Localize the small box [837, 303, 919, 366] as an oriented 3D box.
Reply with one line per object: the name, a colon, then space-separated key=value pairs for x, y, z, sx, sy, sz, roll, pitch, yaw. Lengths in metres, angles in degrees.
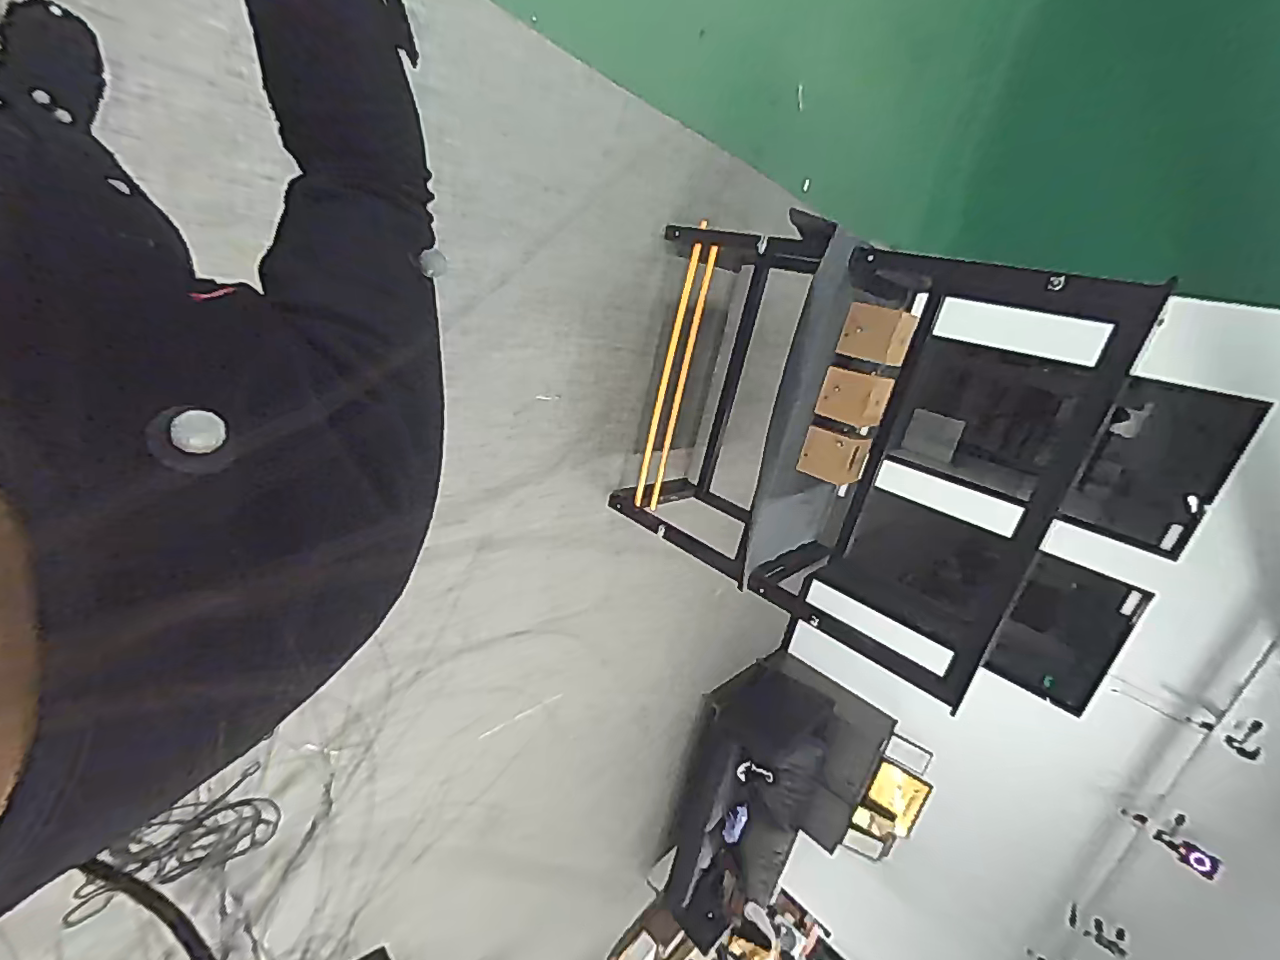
small box: x=0.777 y=-0.477 z=1.772 sx=0.179 sy=0.176 sz=0.168 roll=-10 pitch=119 yaw=-47
